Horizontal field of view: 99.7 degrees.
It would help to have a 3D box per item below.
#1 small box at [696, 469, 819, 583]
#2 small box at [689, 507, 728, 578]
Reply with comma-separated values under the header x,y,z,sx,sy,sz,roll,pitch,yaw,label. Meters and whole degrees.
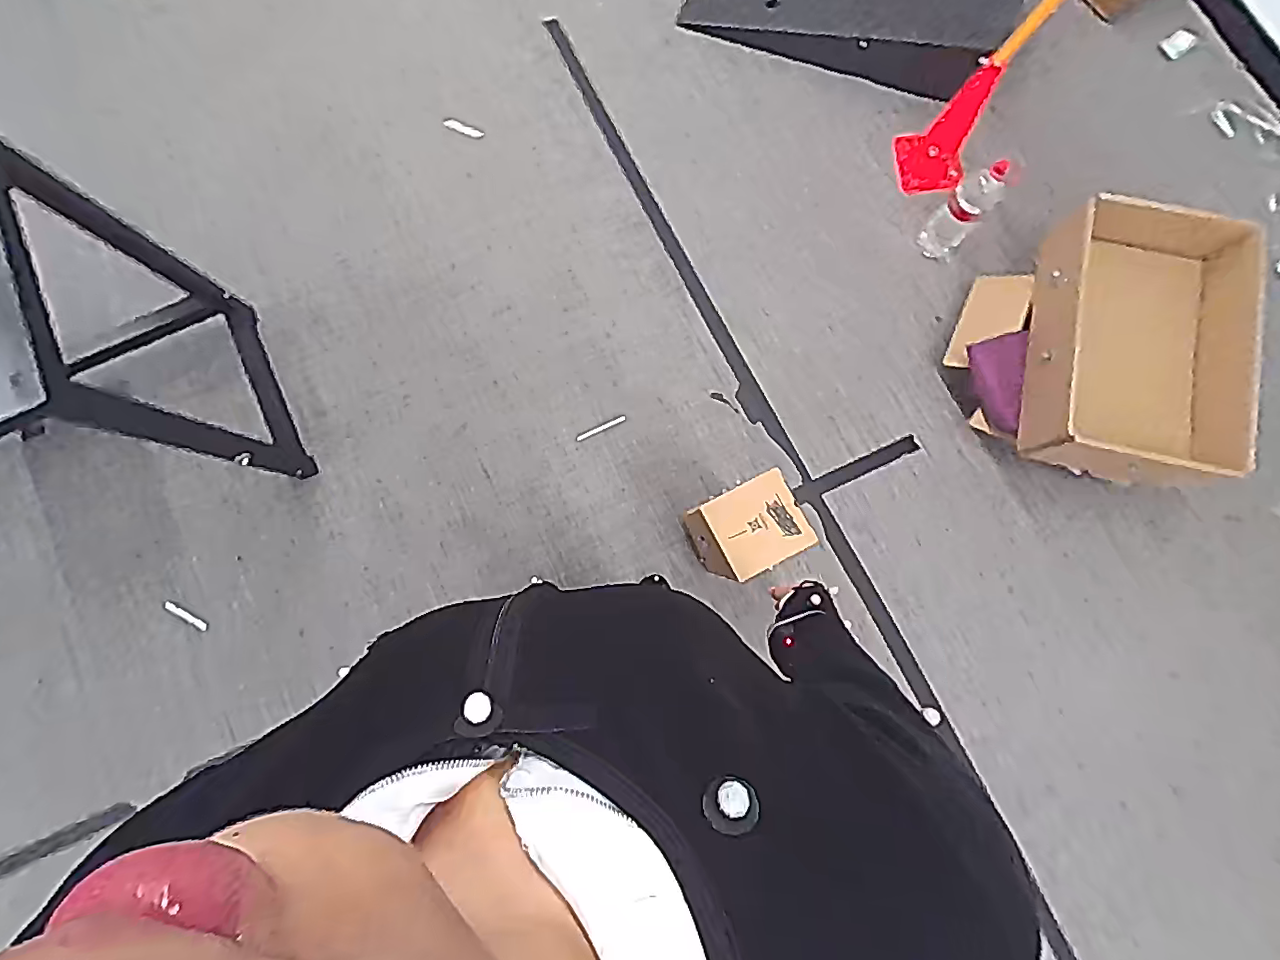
x,y,z,sx,sy,sz,roll,pitch,yaw,label
0.230,0.096,1.109,0.179,0.176,0.168,-27,82,-3,small box
0.230,0.117,1.273,0.179,0.176,0.168,-27,82,-4,small box
